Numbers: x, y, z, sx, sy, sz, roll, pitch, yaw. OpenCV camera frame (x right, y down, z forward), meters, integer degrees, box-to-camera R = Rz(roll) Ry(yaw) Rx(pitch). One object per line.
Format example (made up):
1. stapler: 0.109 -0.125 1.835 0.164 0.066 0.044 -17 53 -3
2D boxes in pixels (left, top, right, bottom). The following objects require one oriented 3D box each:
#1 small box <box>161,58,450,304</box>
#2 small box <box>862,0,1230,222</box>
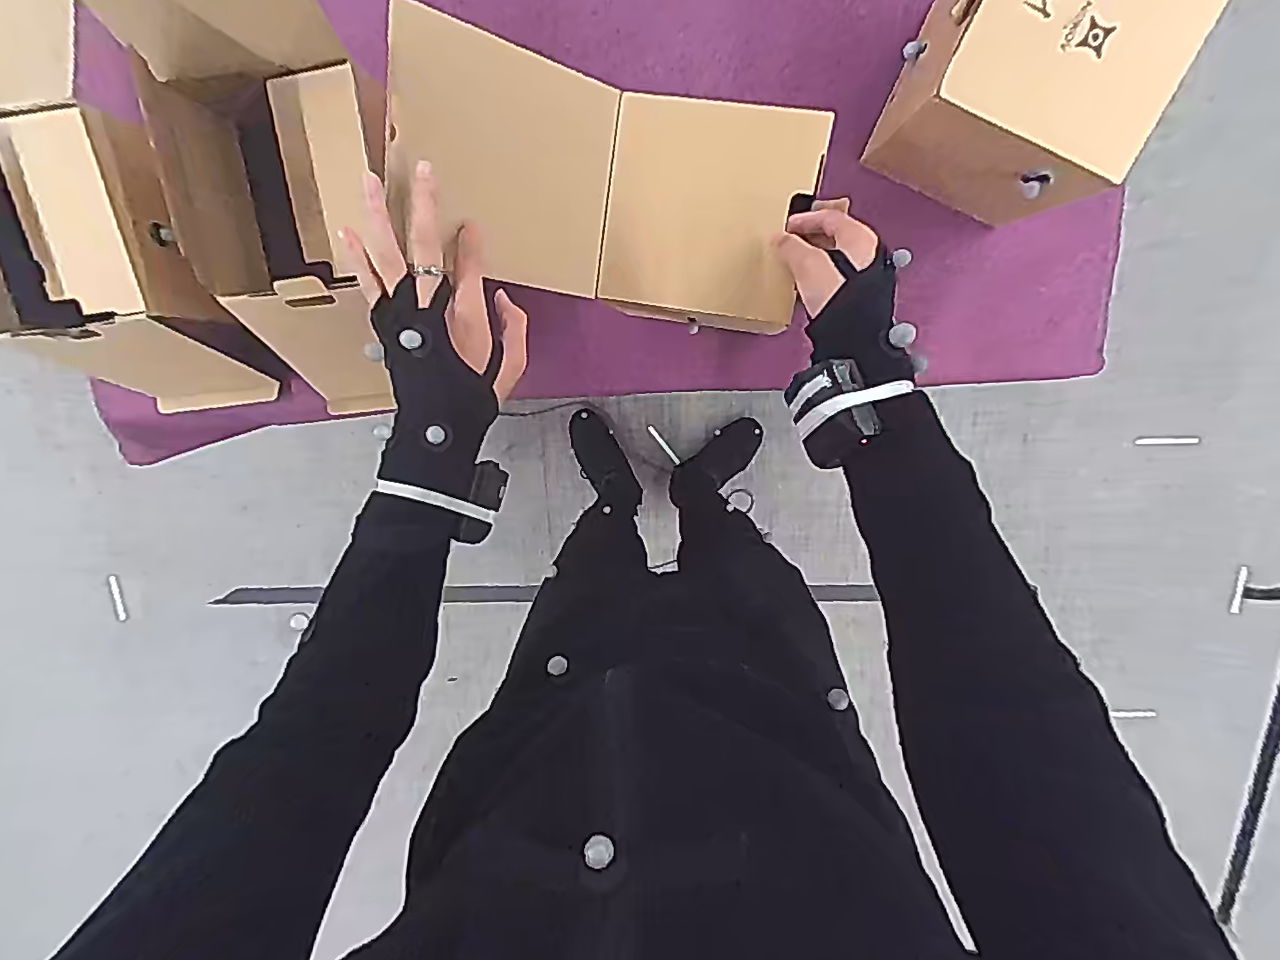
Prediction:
1. small box: -0.306 -0.274 0.540 0.168 0.176 0.179 -5 103 2
2. small box: 0.345 -0.360 0.498 0.179 0.176 0.168 24 103 -4
